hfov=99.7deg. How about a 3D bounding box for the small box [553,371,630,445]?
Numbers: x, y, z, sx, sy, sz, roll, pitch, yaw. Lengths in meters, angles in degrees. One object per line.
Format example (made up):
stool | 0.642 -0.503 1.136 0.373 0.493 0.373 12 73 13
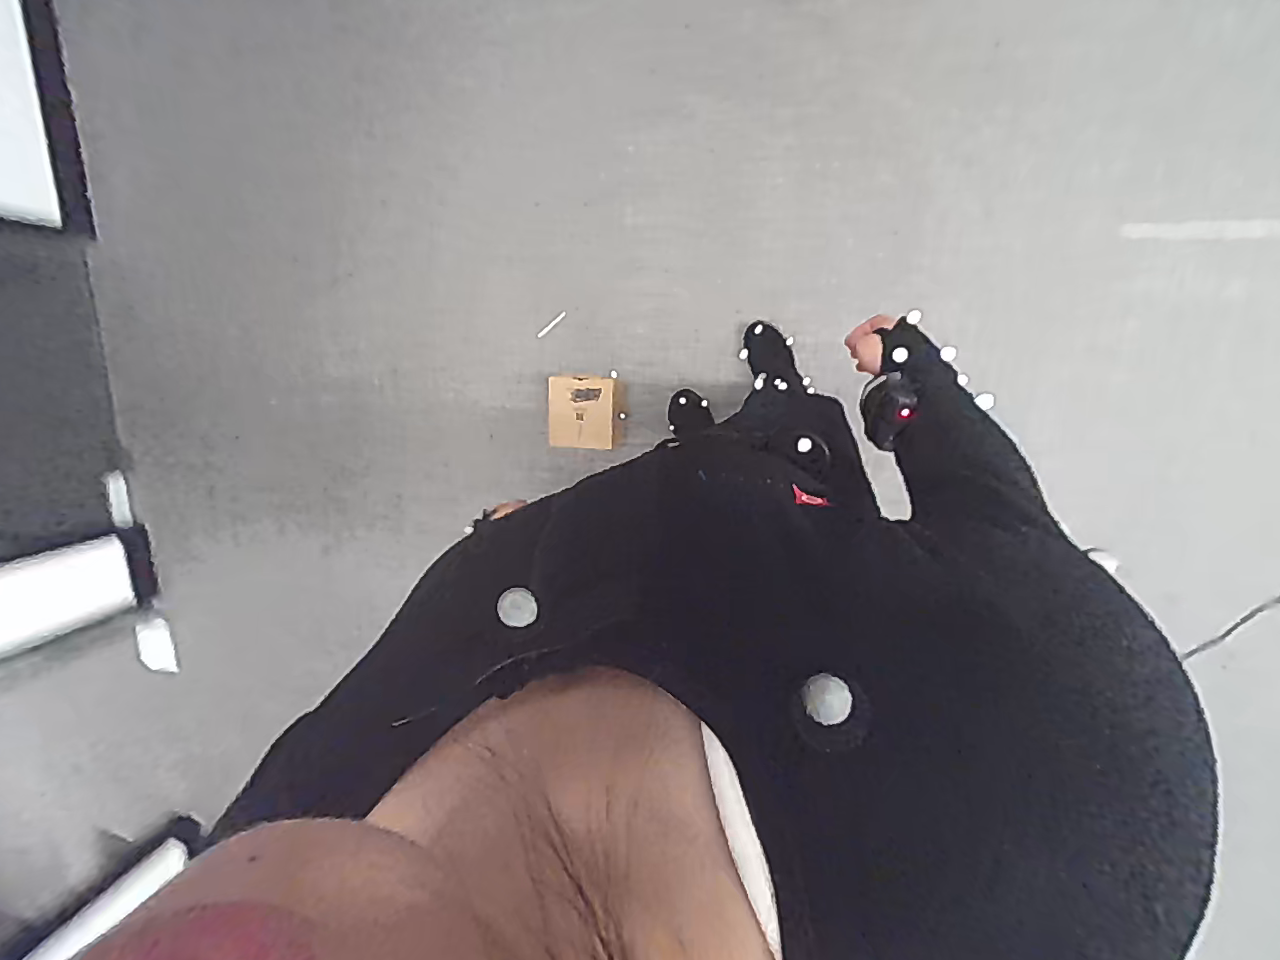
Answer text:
small box | -0.124 -0.195 1.420 0.168 0.176 0.179 4 104 10
